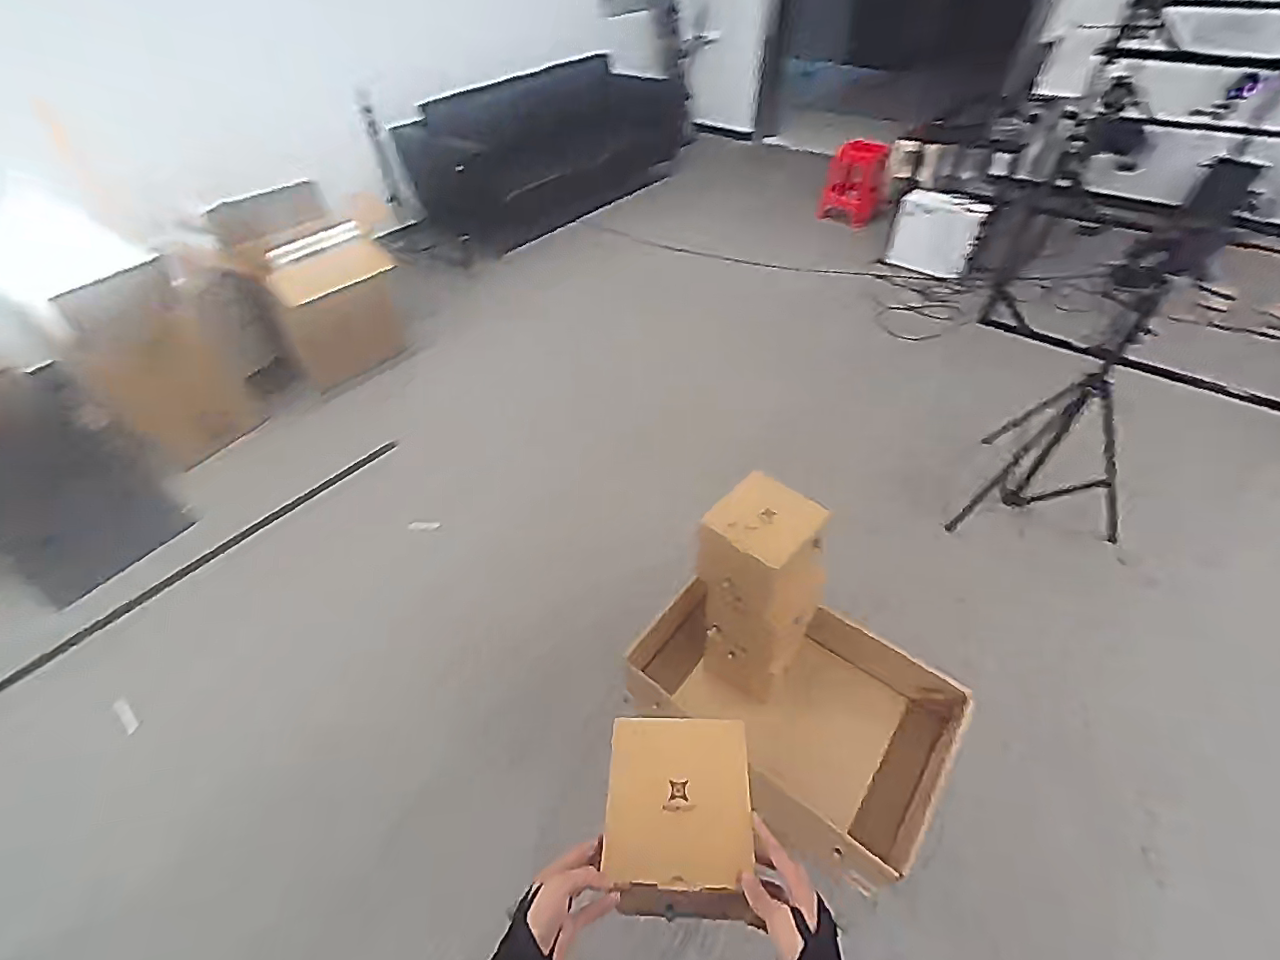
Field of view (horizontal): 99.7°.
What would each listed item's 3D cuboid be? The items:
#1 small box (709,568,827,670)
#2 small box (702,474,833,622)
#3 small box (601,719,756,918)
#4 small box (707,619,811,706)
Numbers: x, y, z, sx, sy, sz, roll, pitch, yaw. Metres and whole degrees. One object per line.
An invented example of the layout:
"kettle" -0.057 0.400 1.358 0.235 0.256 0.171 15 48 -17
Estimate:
"small box" 0.257 0.256 1.121 0.168 0.176 0.179 34 55 29
"small box" 0.229 0.128 1.018 0.168 0.176 0.179 34 56 30
"small box" 0.048 0.422 0.678 0.168 0.176 0.179 -2 44 4
"small box" 0.264 0.375 1.236 0.168 0.176 0.179 27 52 26
